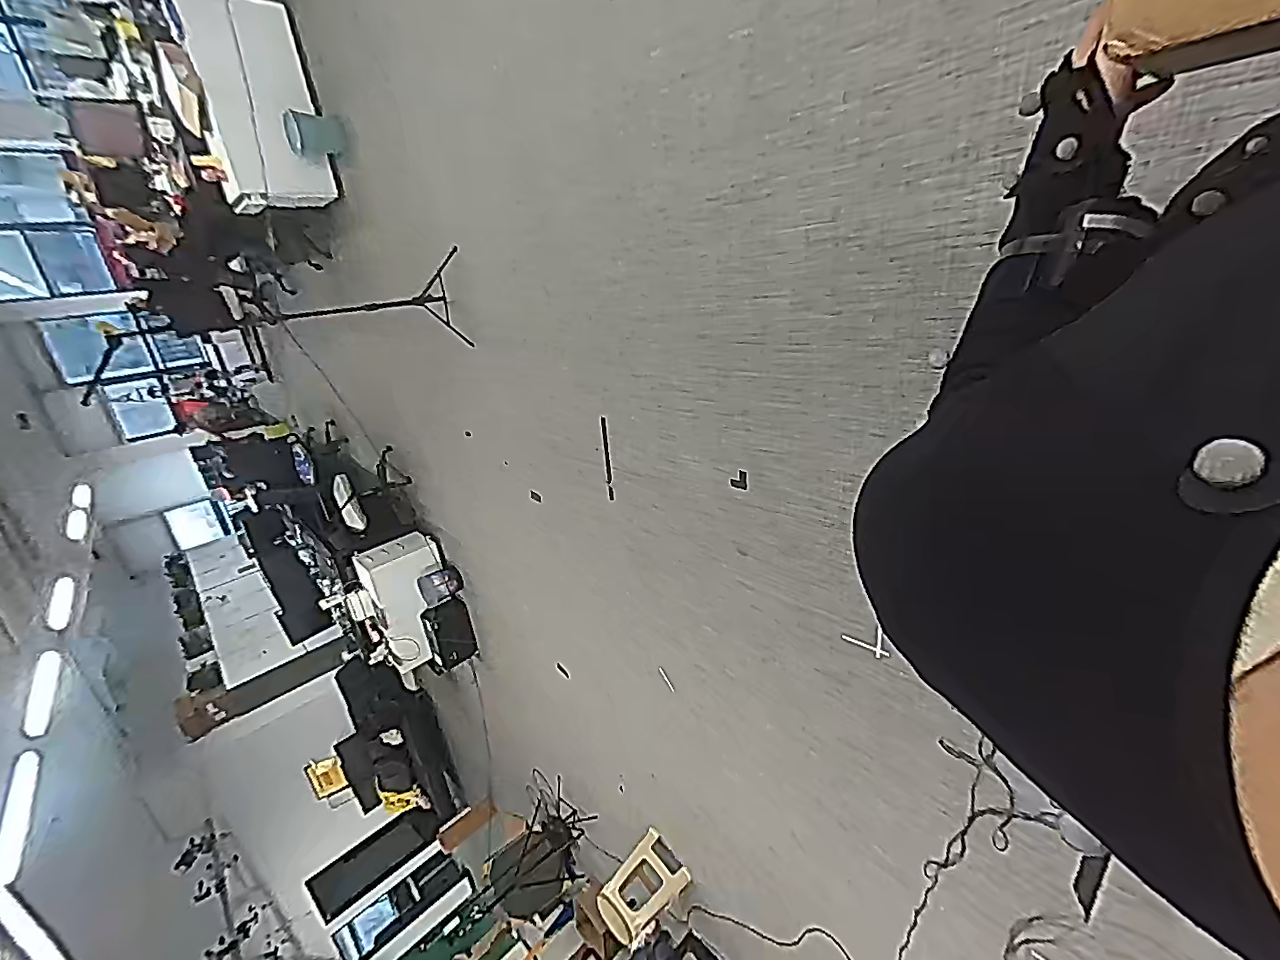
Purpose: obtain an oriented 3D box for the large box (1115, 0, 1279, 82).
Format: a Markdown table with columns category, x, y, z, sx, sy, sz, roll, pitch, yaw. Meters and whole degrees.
| category | x | y | z | sx | sy | sz | roll | pitch | yaw |
| --- | --- | --- | --- | --- | --- | --- | --- | --- | --- |
| large box | 0.412 | -0.355 | 0.137 | 0.408 | 0.320 | 0.320 | 11 | 124 | 41 |
